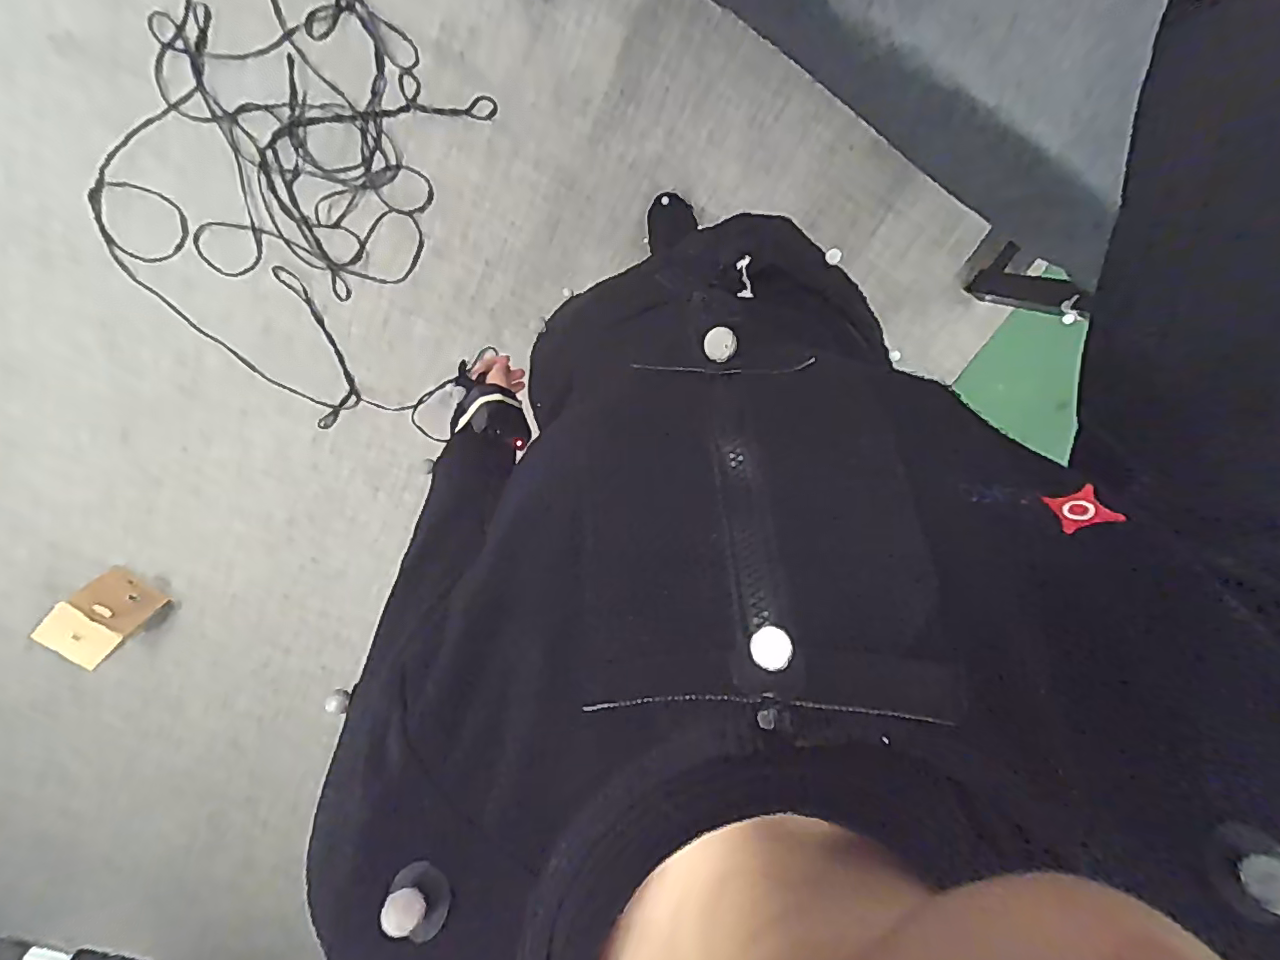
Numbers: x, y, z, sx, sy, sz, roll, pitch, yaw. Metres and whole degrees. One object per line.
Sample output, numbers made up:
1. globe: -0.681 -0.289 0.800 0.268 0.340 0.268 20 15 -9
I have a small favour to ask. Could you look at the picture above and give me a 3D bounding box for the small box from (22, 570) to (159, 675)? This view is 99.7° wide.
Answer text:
1. small box: -1.476 0.382 1.465 0.179 0.176 0.168 -39 109 15
